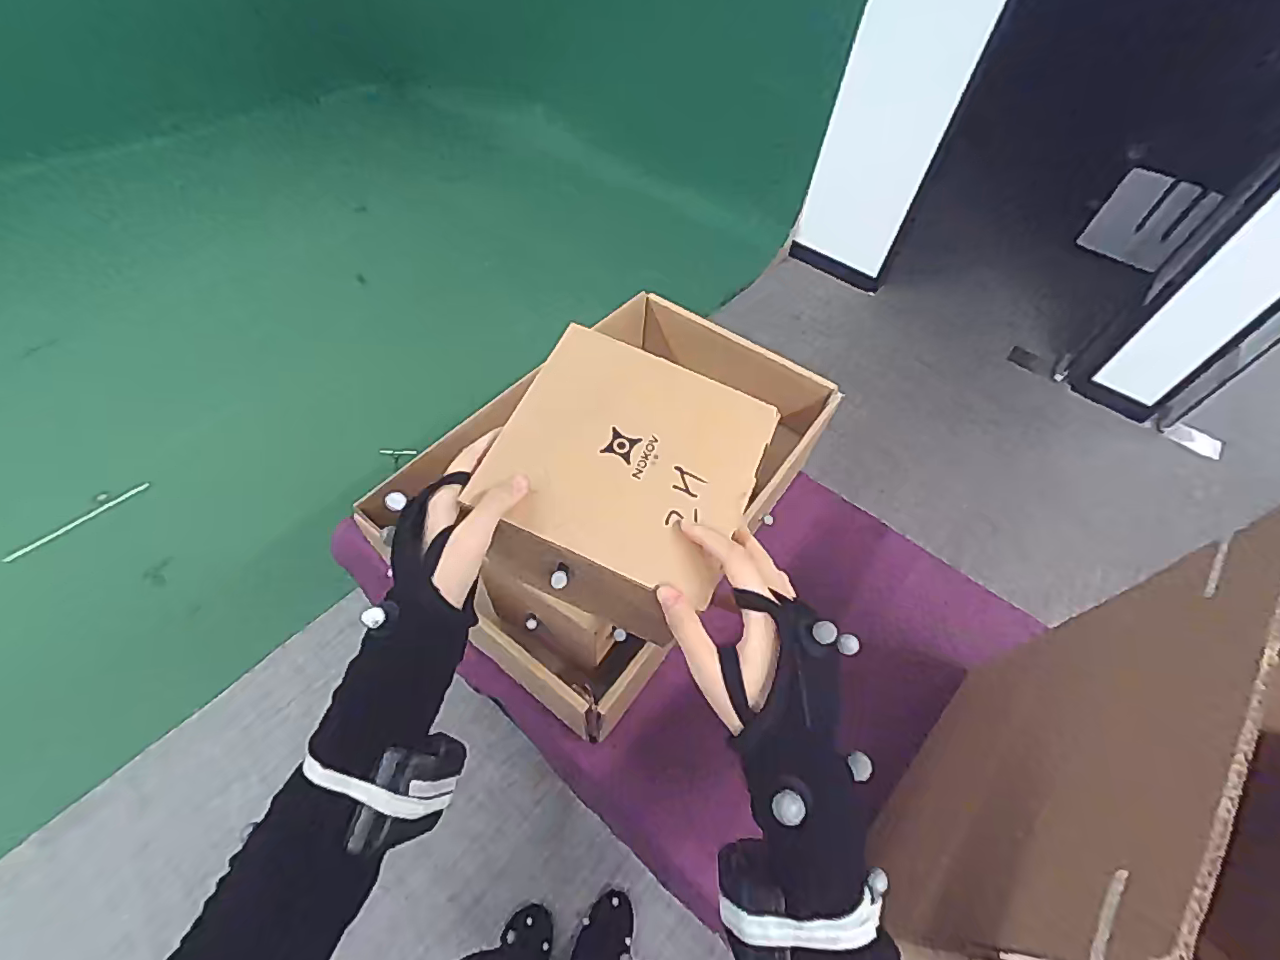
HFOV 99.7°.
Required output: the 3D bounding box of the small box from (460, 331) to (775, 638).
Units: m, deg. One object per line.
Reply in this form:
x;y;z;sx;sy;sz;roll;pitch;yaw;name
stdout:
-0.017;0.017;0.451;0.179;0.176;0.168;25;66;4;small box
